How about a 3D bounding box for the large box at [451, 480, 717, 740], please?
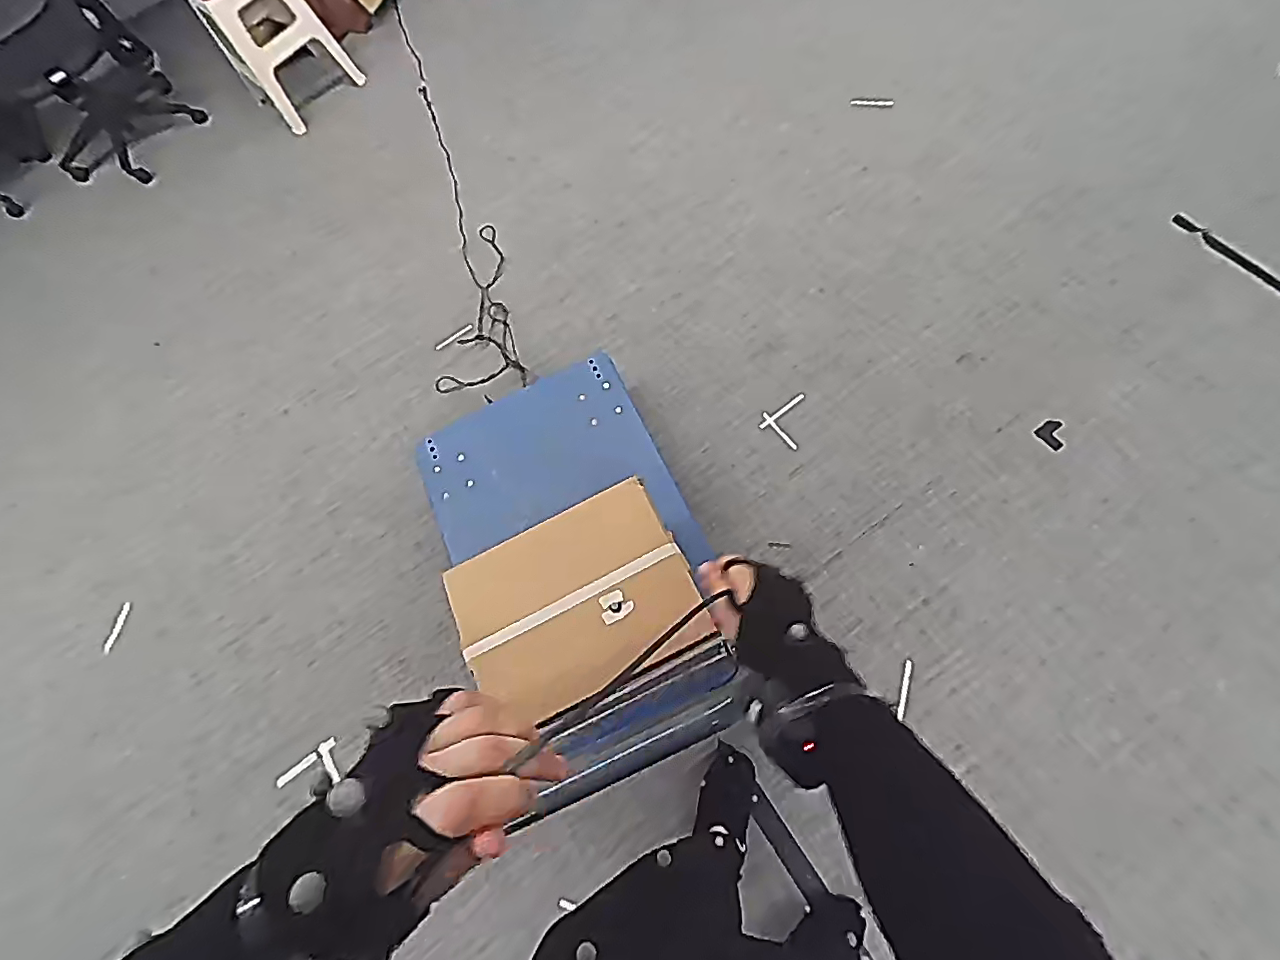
[{"bbox_3d":[-0.091,0.265,1.084,0.408,0.320,0.320,-27,69,-2],"label":"large box"}]
